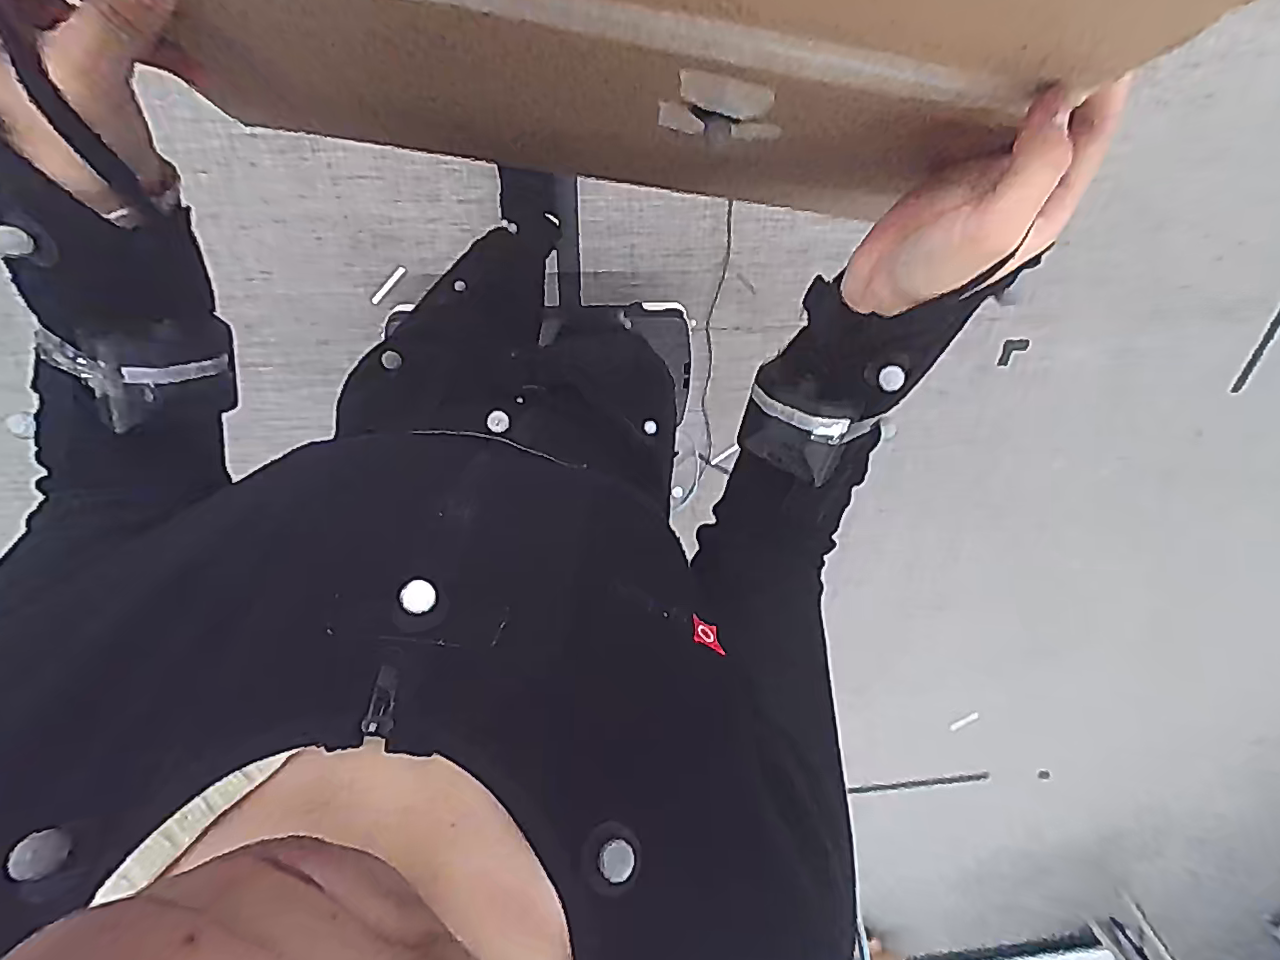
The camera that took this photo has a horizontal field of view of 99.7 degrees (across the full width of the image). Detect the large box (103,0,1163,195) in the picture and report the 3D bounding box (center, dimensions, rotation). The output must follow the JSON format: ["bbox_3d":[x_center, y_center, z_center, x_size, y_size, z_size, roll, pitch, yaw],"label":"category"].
[{"bbox_3d":[-0.015,-0.331,0.171,0.408,0.320,0.320,5,99,-5],"label":"large box"}]
